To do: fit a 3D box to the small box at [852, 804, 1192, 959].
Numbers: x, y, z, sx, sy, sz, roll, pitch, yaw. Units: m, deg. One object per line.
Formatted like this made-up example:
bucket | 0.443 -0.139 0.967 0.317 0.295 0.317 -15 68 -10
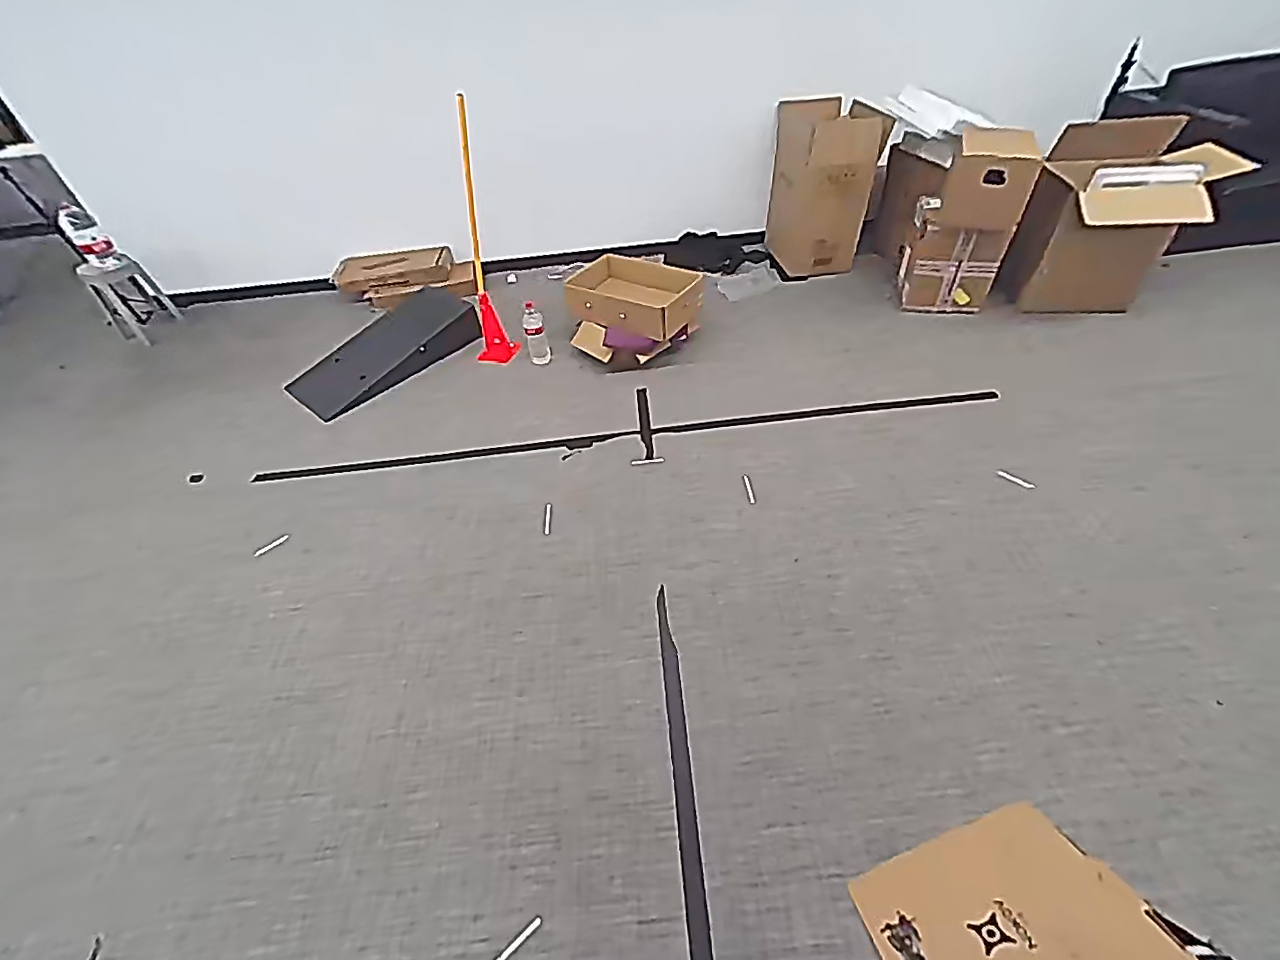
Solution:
small box | 0.298 0.401 0.406 0.179 0.176 0.168 -25 8 1
